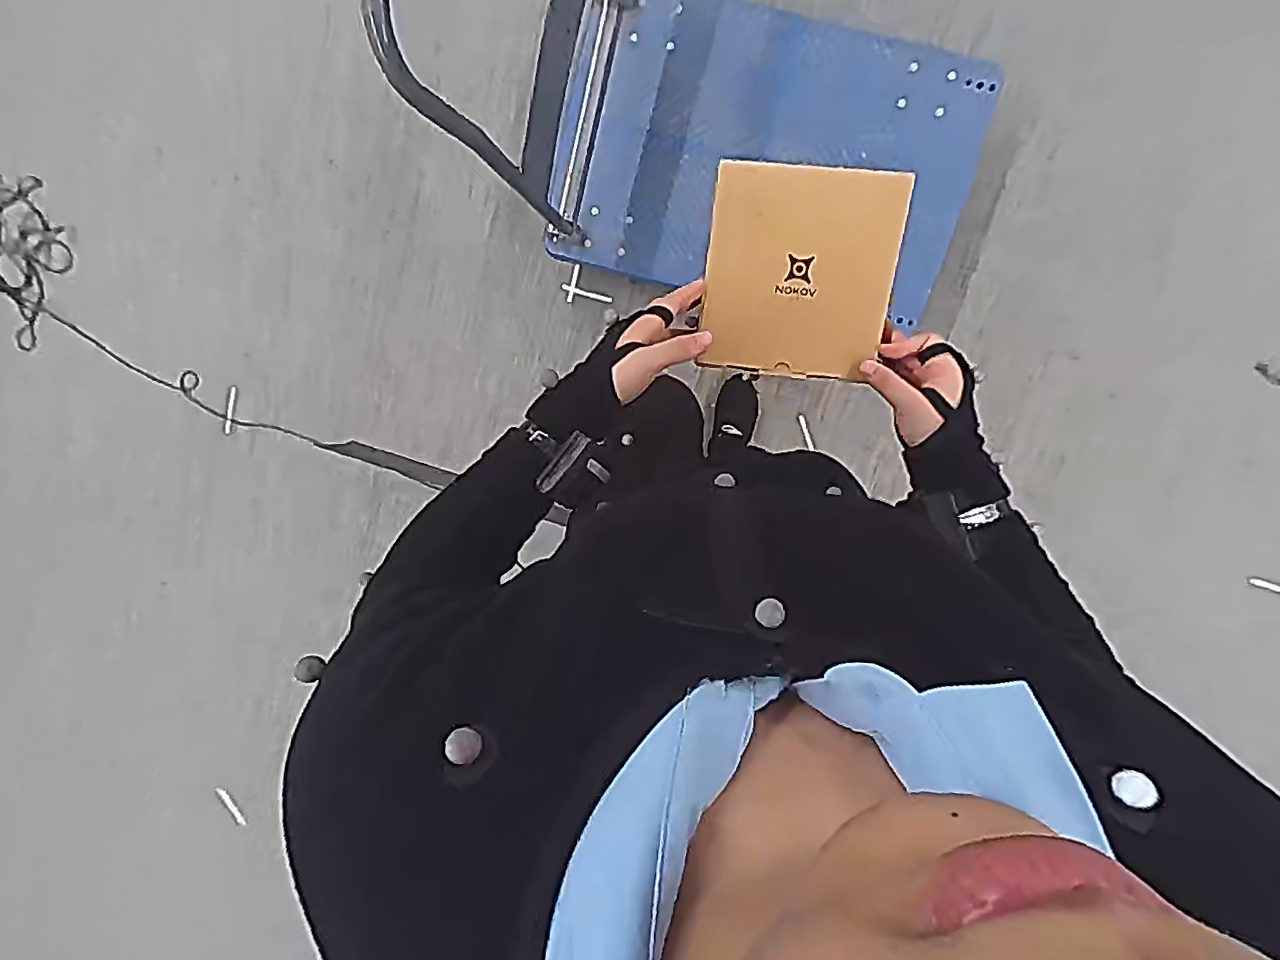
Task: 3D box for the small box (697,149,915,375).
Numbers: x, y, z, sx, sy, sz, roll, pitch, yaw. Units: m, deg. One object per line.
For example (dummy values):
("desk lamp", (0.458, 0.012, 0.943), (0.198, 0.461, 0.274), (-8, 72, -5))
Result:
("small box", (0.148, -0.206, 0.548), (0.168, 0.176, 0.179), (6, 105, 5))
